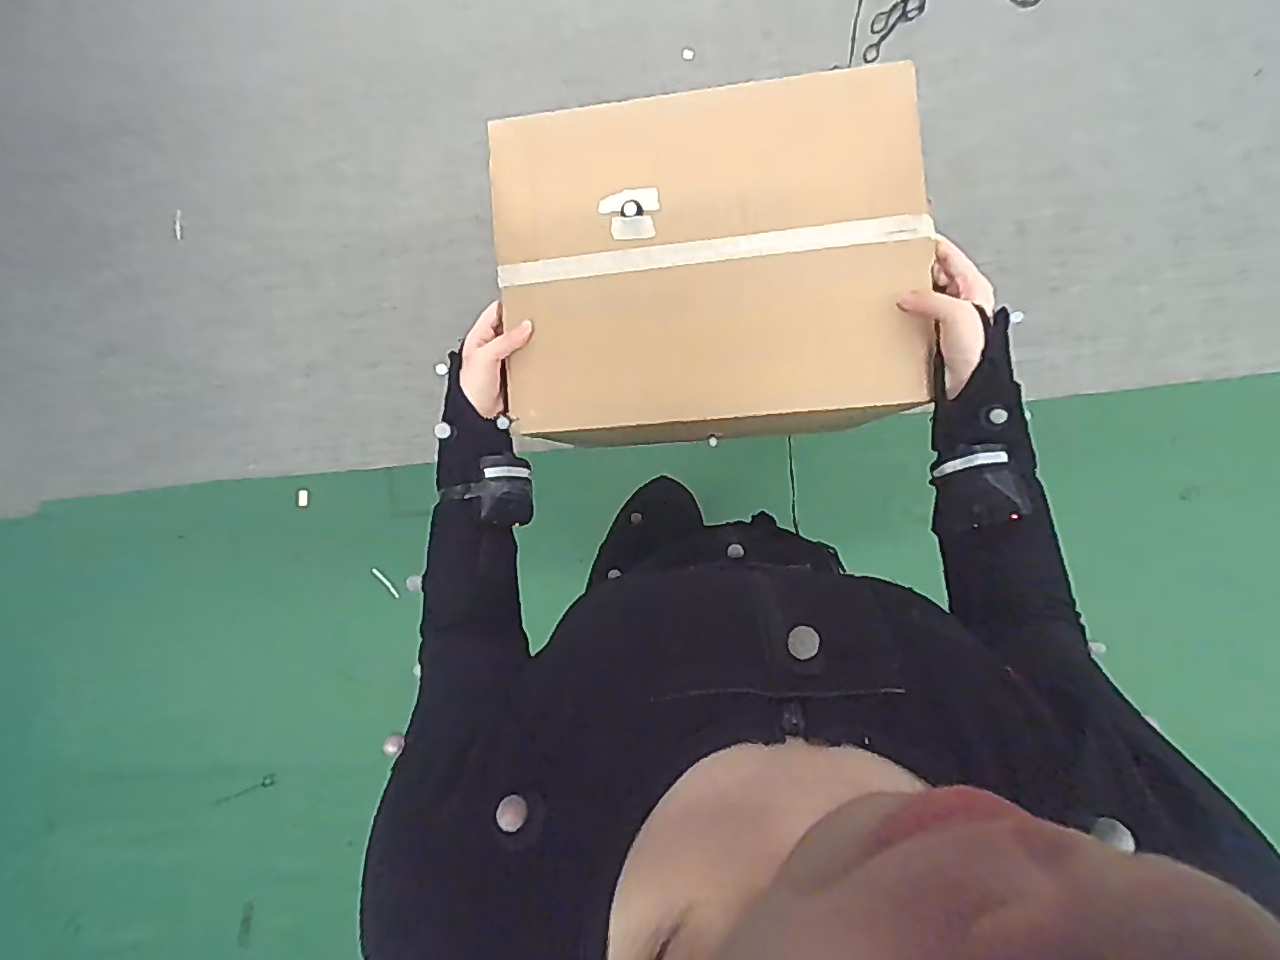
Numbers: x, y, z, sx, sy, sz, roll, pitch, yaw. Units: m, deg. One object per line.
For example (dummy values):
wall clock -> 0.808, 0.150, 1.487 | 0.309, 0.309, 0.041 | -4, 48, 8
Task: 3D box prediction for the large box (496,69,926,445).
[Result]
large box -> 0.081, -0.217, 0.676 | 0.408, 0.320, 0.320 | -4, 90, 8
